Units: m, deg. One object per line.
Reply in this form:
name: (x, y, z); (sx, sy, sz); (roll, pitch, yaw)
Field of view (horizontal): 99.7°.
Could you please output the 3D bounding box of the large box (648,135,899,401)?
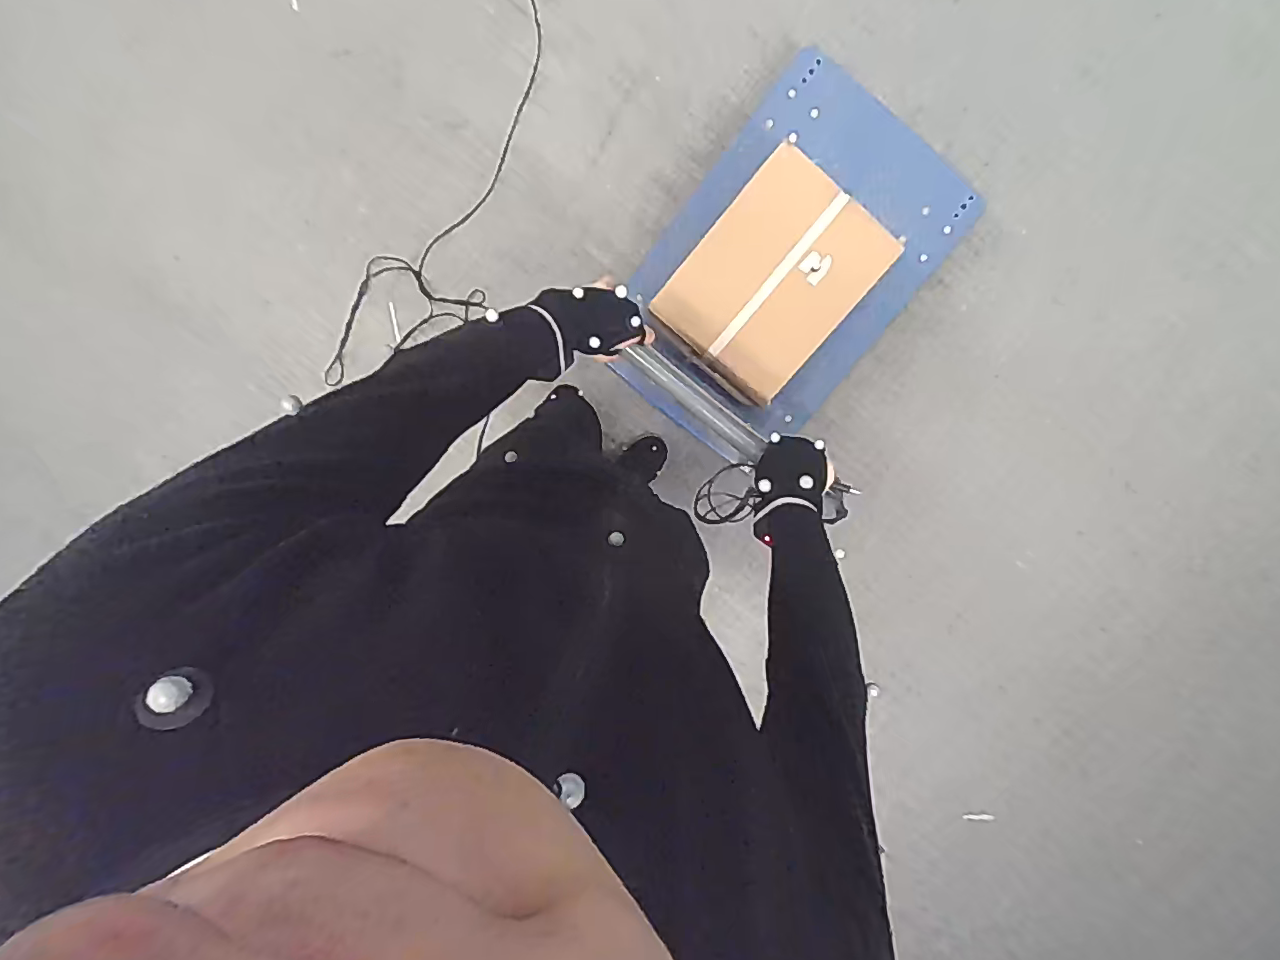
large box: (0.259, -0.423, 1.192); (0.320, 0.320, 0.408); (41, 99, -6)
